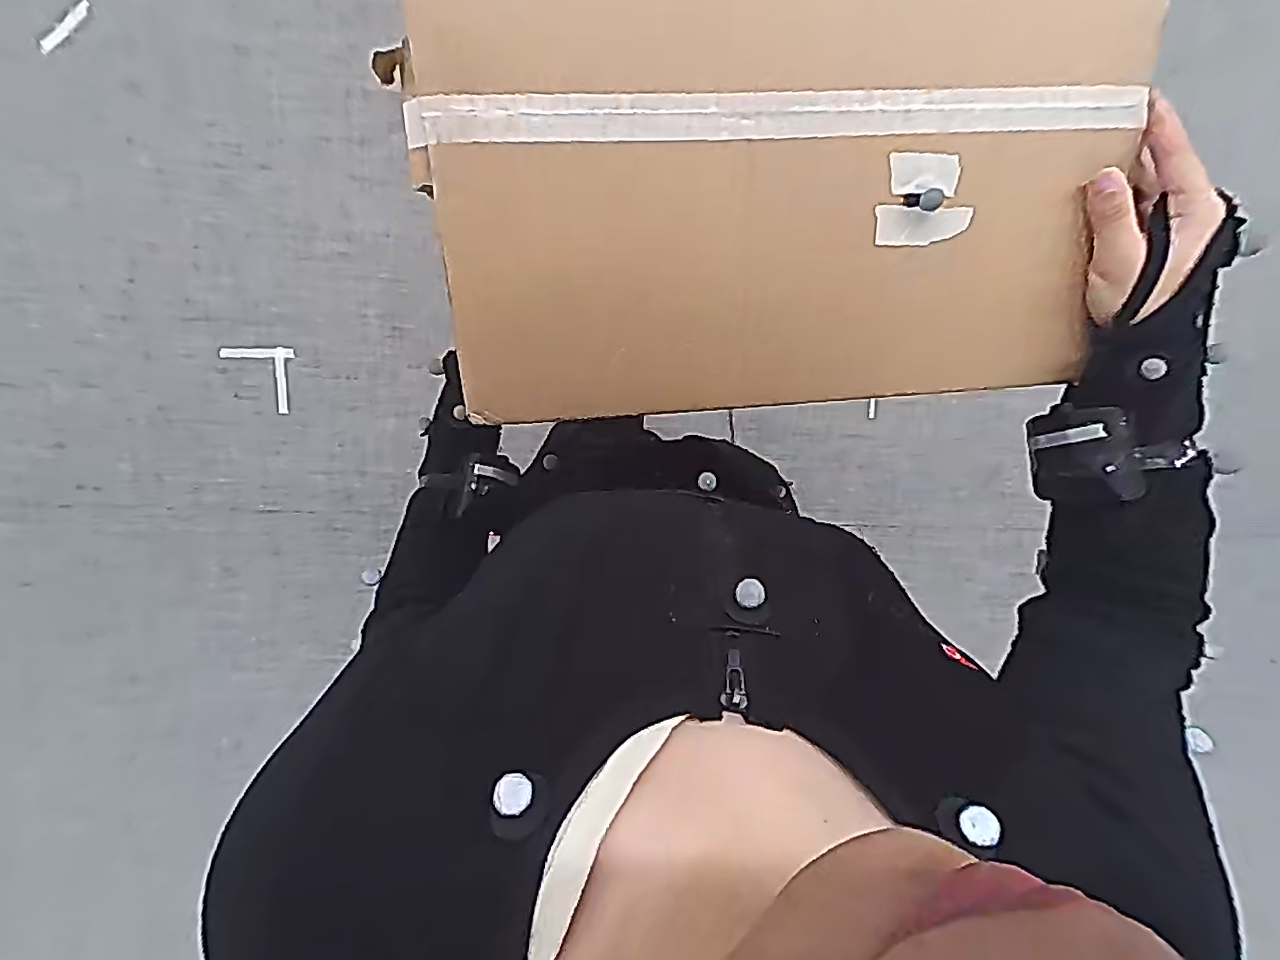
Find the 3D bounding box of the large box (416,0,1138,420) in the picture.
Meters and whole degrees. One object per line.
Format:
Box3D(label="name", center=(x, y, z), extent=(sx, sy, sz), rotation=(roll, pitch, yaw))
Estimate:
Box3D(label="large box", center=(0.066, -0.246, 0.444), extent=(0.408, 0.320, 0.320), rotation=(-6, 109, -7))
